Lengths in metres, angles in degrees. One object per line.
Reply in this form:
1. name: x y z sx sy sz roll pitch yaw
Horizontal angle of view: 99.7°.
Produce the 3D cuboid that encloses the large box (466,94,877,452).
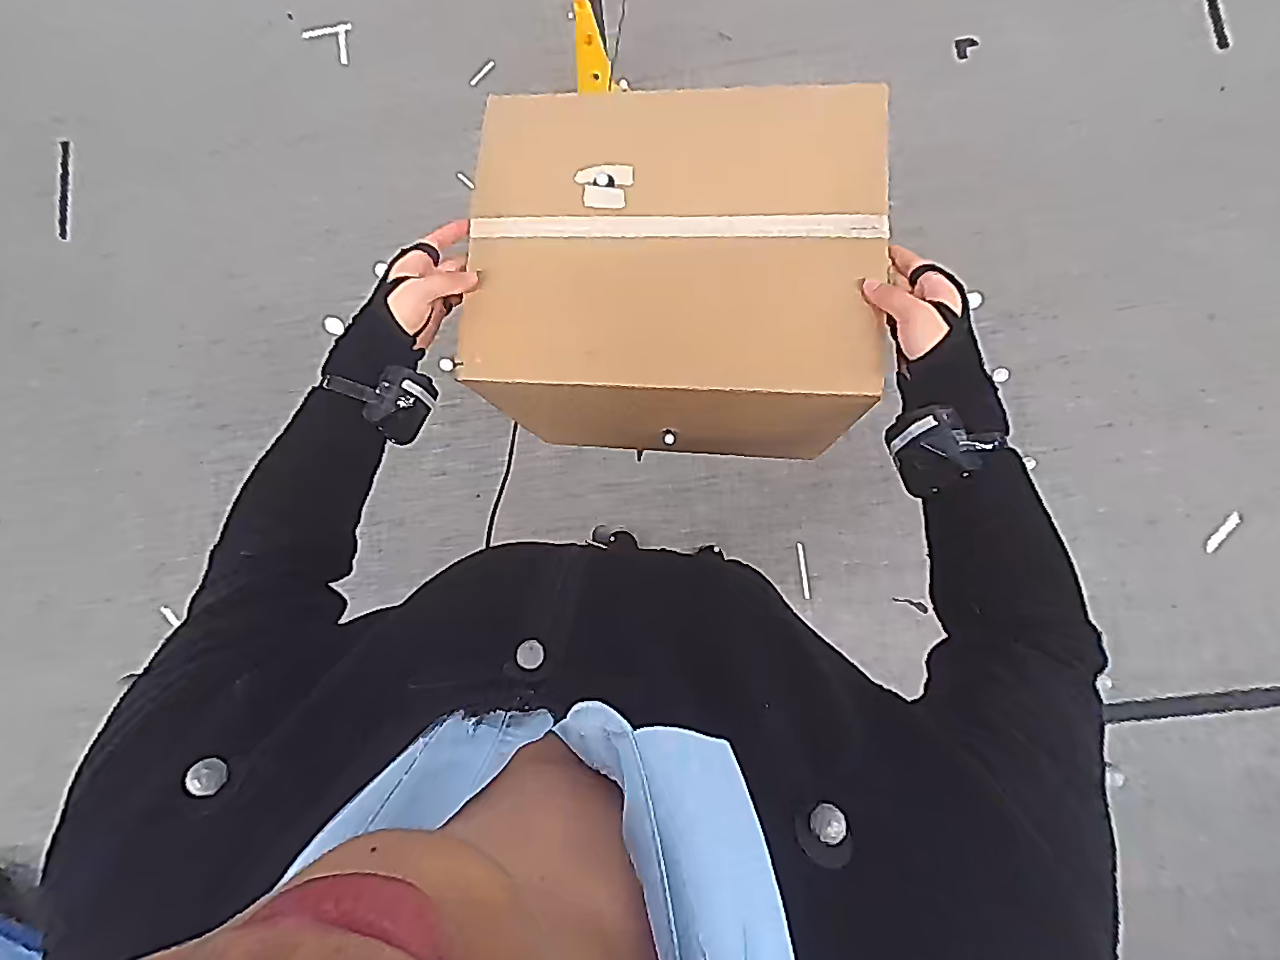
1. large box: 0.048 -0.216 0.685 0.408 0.320 0.320 3 81 8
